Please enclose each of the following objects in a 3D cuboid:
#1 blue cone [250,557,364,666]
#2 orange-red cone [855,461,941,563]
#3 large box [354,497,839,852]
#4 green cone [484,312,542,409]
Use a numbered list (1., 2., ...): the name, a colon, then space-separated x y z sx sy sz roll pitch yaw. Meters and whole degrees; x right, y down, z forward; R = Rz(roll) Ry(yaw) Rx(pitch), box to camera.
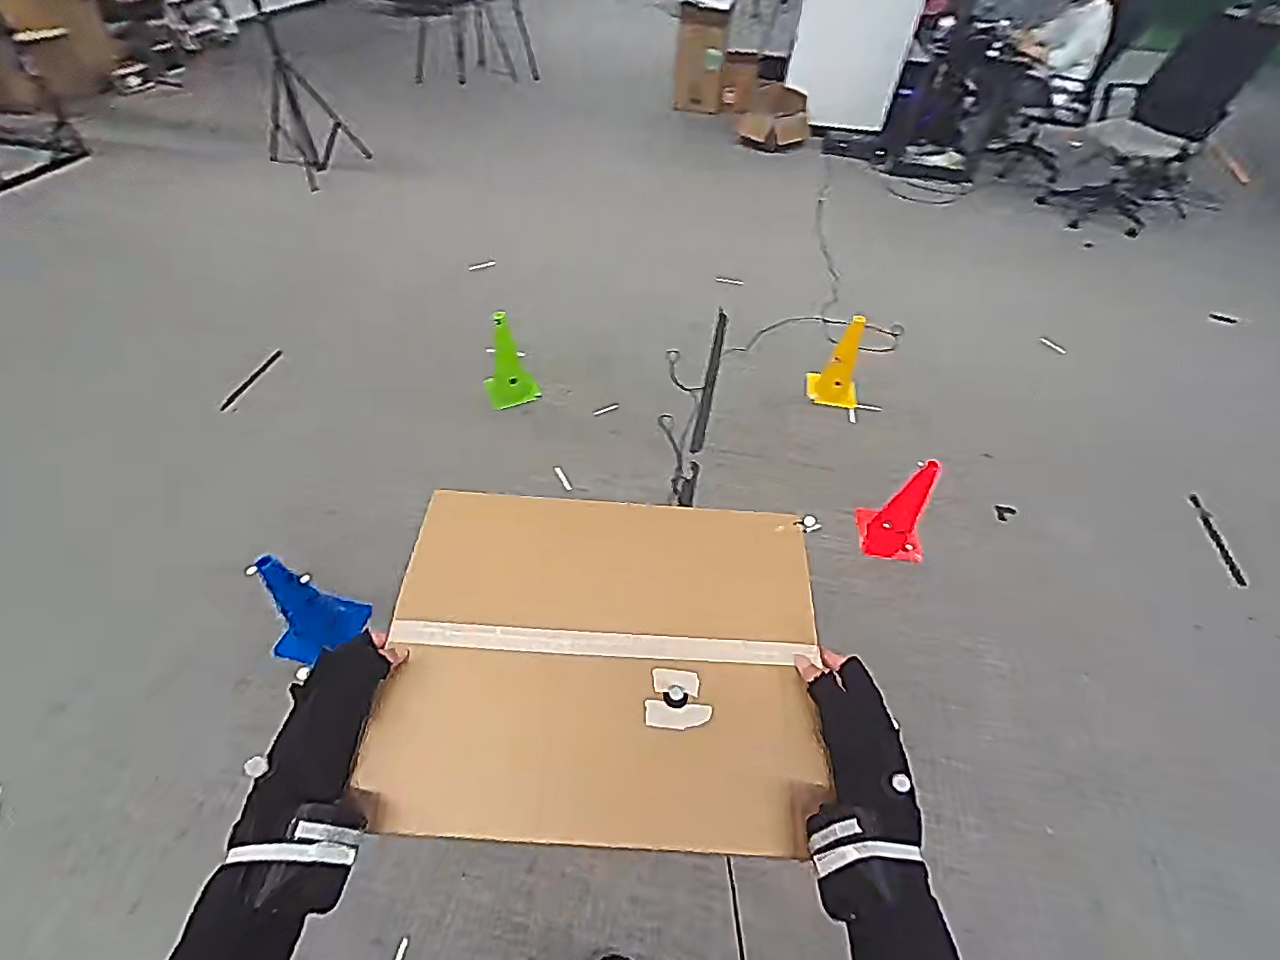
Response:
1. blue cone: -0.900 0.319 1.415 0.192 0.380 0.193 12 50 8
2. orange-red cone: 0.848 0.072 1.709 0.198 0.360 0.199 9 48 3
3. large box: -0.035 0.242 0.641 0.408 0.320 0.320 5 57 0
4. green cone: -0.525 -0.491 2.112 0.202 0.368 0.200 -20 53 -17
